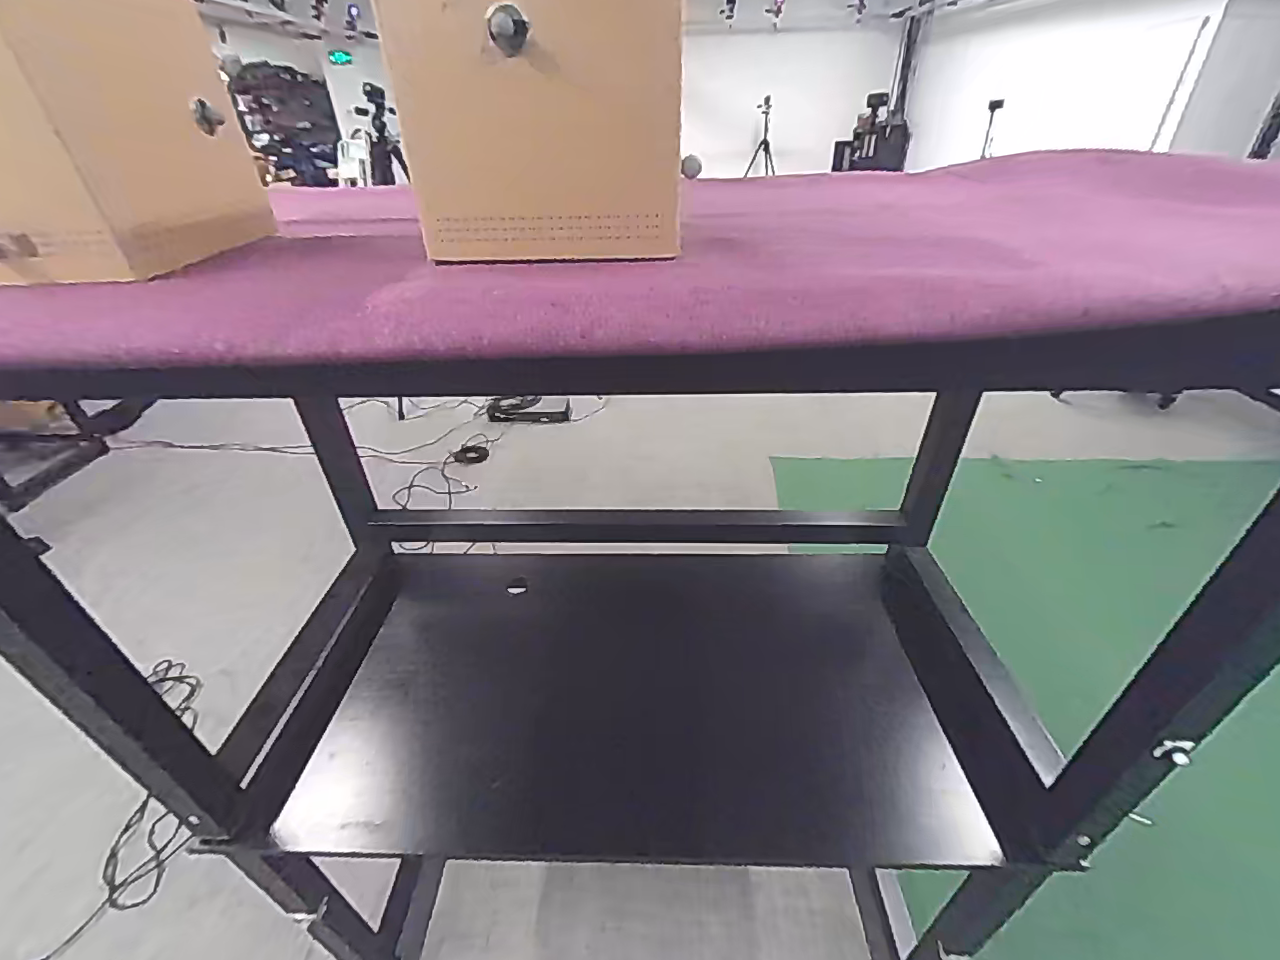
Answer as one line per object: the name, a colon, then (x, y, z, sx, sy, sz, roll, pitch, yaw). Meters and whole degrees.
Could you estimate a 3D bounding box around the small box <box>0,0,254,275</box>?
small box: (-0.412, -0.247, 0.371, 0.168, 0.176, 0.179, -3, 36, 0)

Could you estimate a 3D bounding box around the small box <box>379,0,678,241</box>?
small box: (-0.062, -0.273, 0.386, 0.179, 0.176, 0.168, 0, 33, 3)
